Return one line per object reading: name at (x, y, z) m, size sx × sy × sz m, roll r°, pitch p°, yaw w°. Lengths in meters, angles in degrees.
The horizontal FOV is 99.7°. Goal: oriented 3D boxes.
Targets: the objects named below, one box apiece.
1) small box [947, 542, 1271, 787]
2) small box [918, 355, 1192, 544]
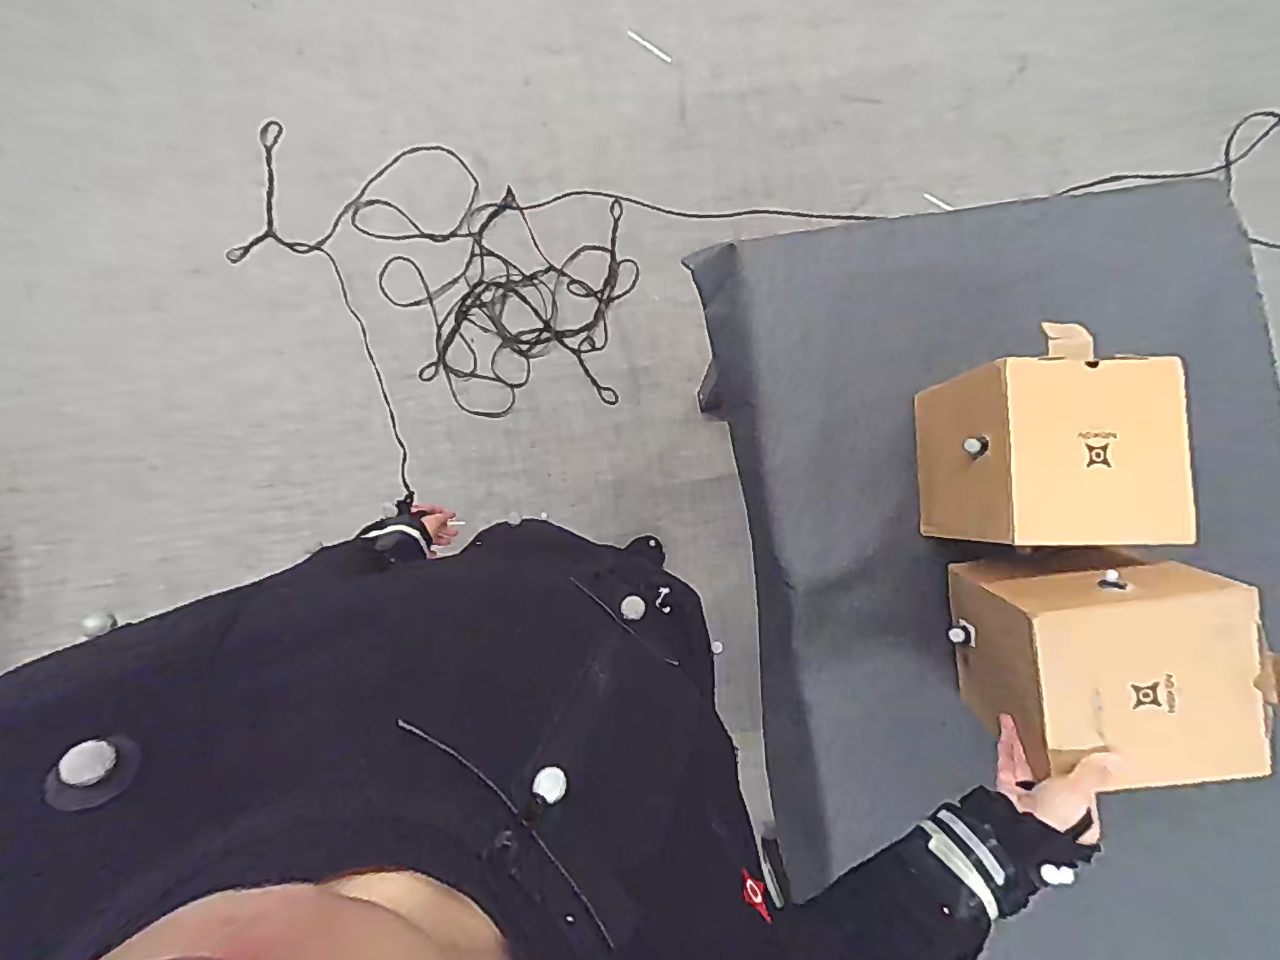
small box at (0.443, 0.166, 0.538) m, size 0.179 × 0.176 × 0.168 m, roll -10°, pitch 95°, yaw 6°
small box at (0.421, -0.025, 0.578) m, size 0.168 × 0.176 × 0.179 m, roll -1°, pitch 86°, yaw 0°
